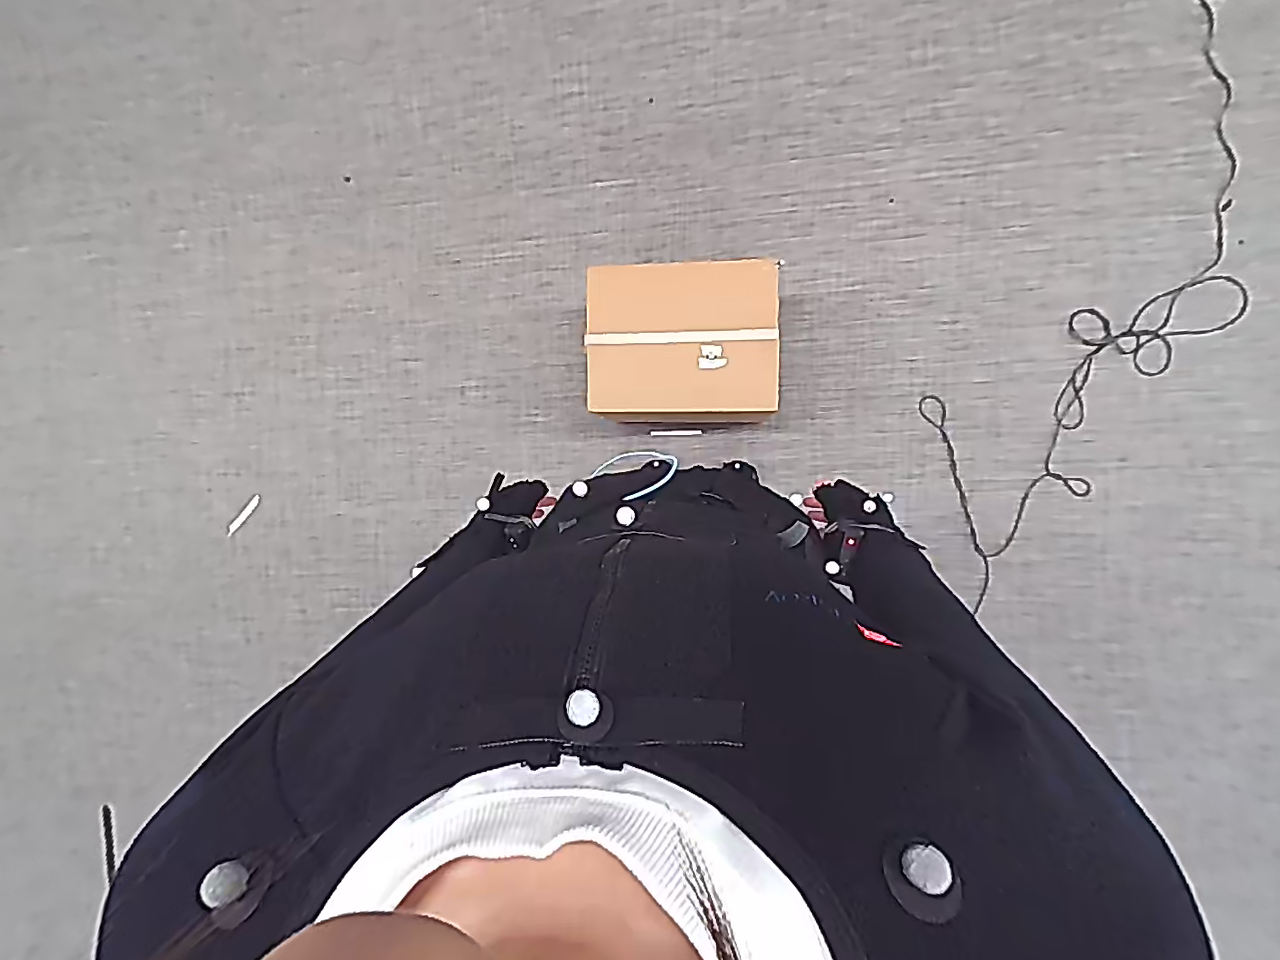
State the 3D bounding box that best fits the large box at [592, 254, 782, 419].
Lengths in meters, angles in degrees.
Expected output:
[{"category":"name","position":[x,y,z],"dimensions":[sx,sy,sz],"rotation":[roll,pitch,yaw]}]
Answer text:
[{"category":"large box","position":[0.112,-0.315,1.284],"dimensions":[0.408,0.320,0.320],"rotation":[1,92,7]}]
